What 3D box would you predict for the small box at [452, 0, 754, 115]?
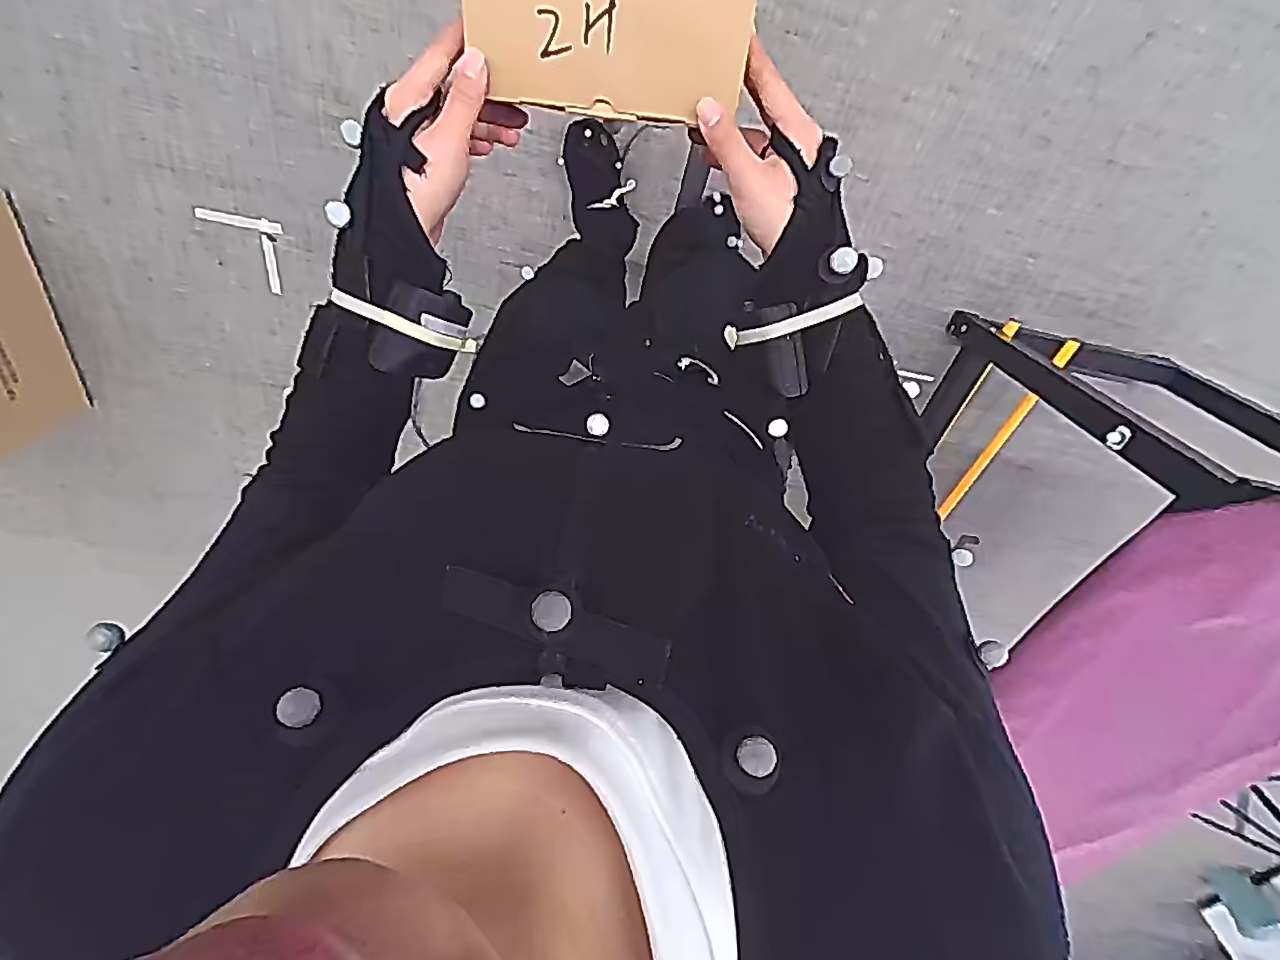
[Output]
[{"bbox_3d":[-0.012,-0.342,0.332,0.168,0.176,0.179,7,126,-2],"label":"small box"}]
